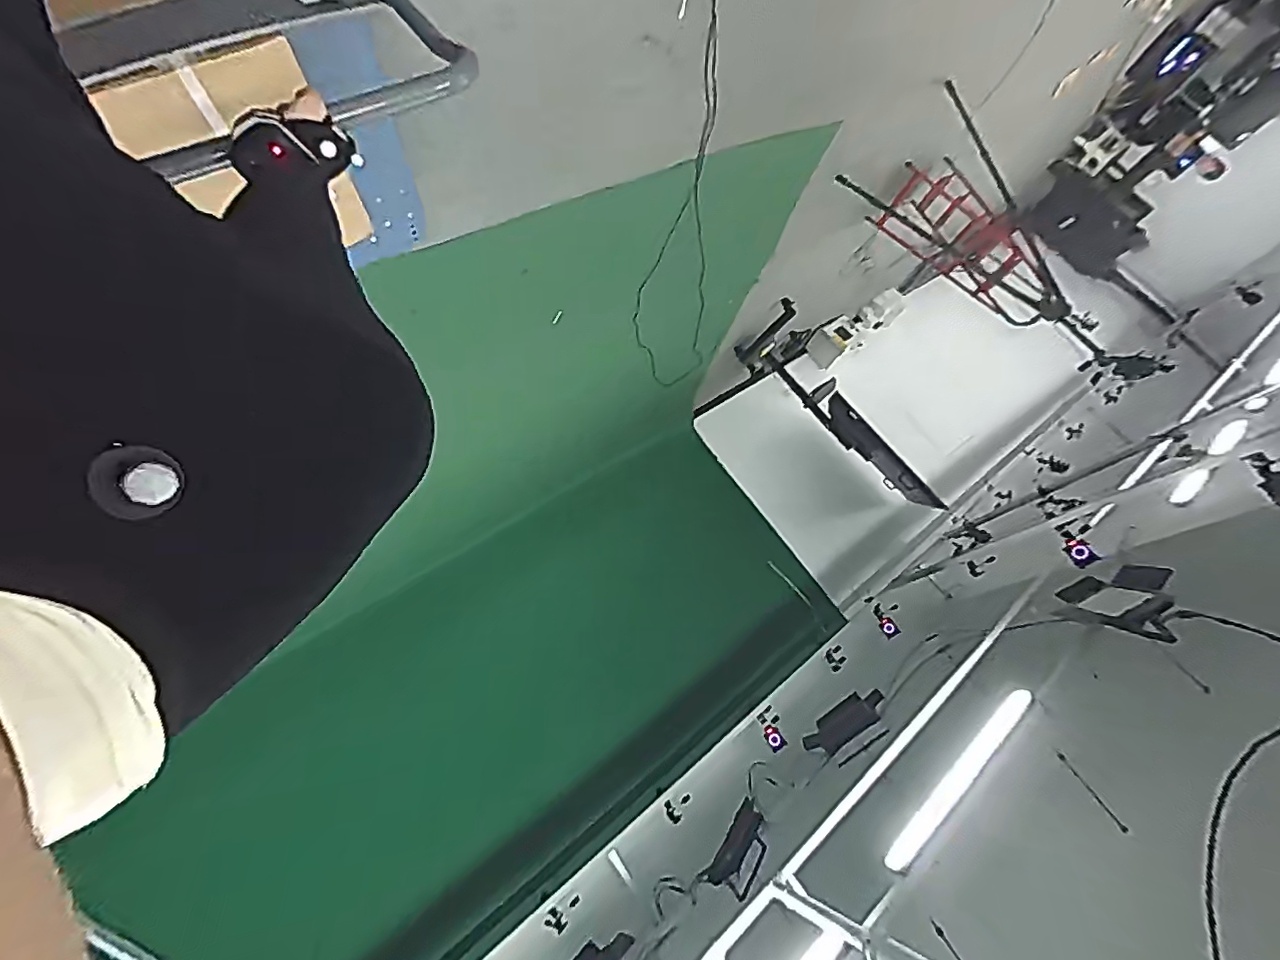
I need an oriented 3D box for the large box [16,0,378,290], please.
[{"bbox_3d":[-0.780,-0.658,1.020,0.320,0.320,0.408,-33,166,-16],"label":"large box"}]
